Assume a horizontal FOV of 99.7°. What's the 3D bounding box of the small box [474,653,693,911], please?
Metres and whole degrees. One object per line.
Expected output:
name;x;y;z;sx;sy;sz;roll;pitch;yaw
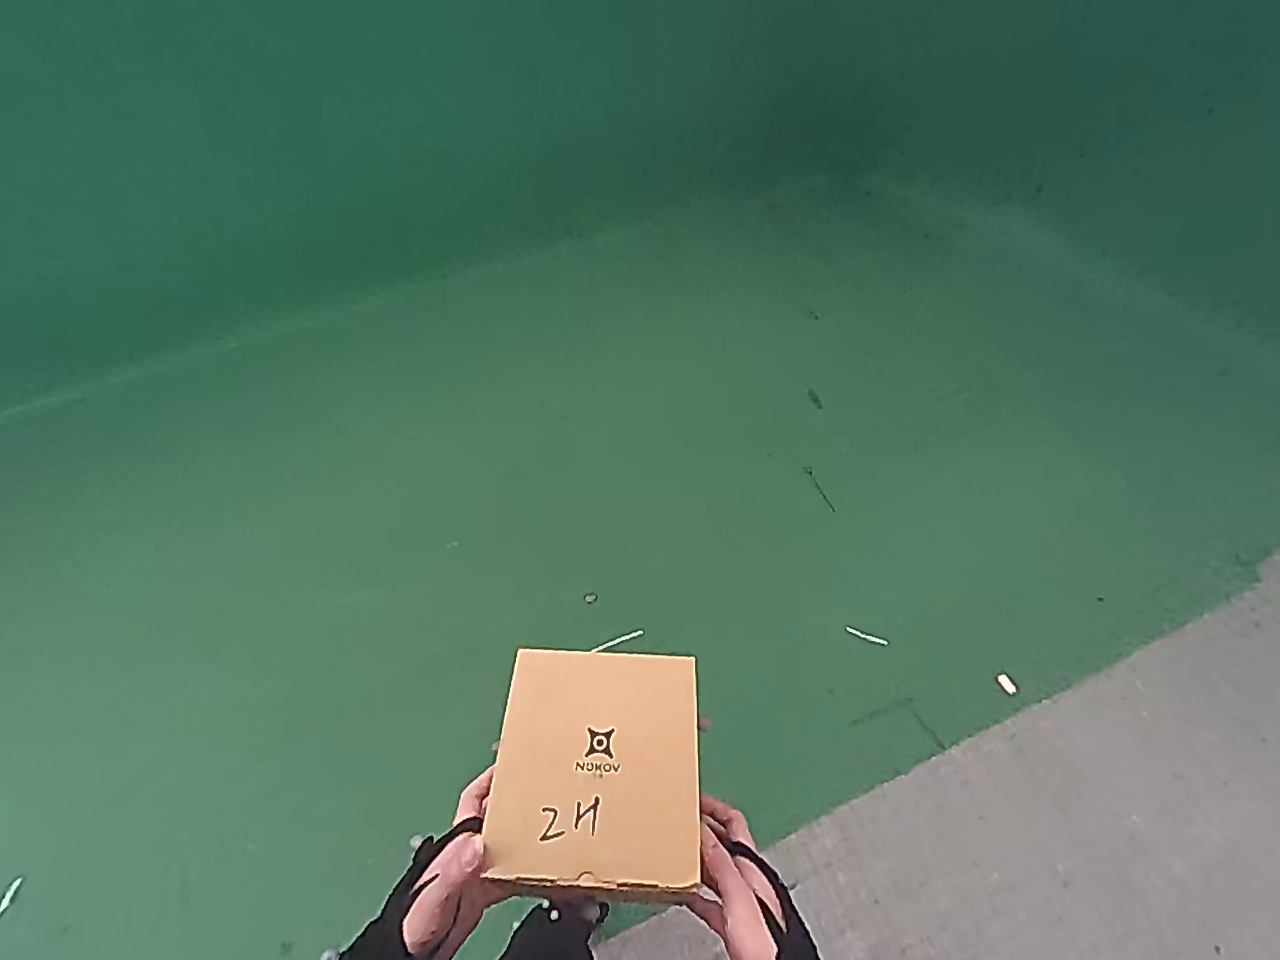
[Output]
small box;-0.040;0.285;0.511;0.168;0.176;0.179;3;49;1
